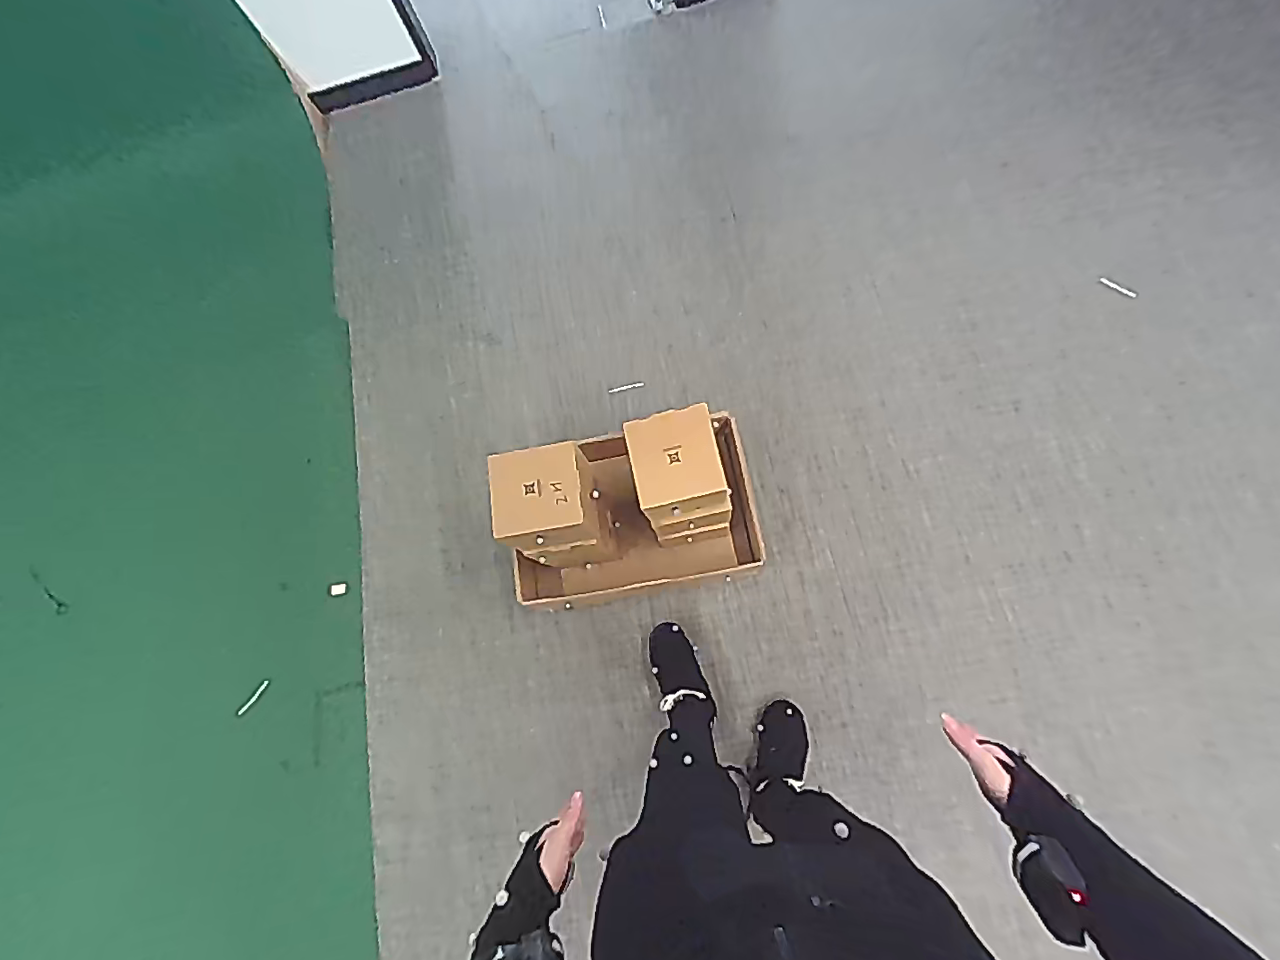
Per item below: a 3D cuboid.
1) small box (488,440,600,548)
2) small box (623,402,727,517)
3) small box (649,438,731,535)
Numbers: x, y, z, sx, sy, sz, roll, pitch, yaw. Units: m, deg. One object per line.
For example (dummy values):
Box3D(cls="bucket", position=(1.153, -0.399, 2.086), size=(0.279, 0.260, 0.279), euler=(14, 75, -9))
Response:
Box3D(cls="small box", position=(-0.189, 0.036, 1.089), size=(0.179, 0.176, 0.168), euler=(-10, 74, 4))
Box3D(cls="small box", position=(0.075, -0.030, 1.077), size=(0.168, 0.176, 0.179), euler=(-14, 75, 5))
Box3D(cls="small box", position=(0.105, 0.021, 1.229), size=(0.179, 0.176, 0.168), euler=(-13, 76, 4))
